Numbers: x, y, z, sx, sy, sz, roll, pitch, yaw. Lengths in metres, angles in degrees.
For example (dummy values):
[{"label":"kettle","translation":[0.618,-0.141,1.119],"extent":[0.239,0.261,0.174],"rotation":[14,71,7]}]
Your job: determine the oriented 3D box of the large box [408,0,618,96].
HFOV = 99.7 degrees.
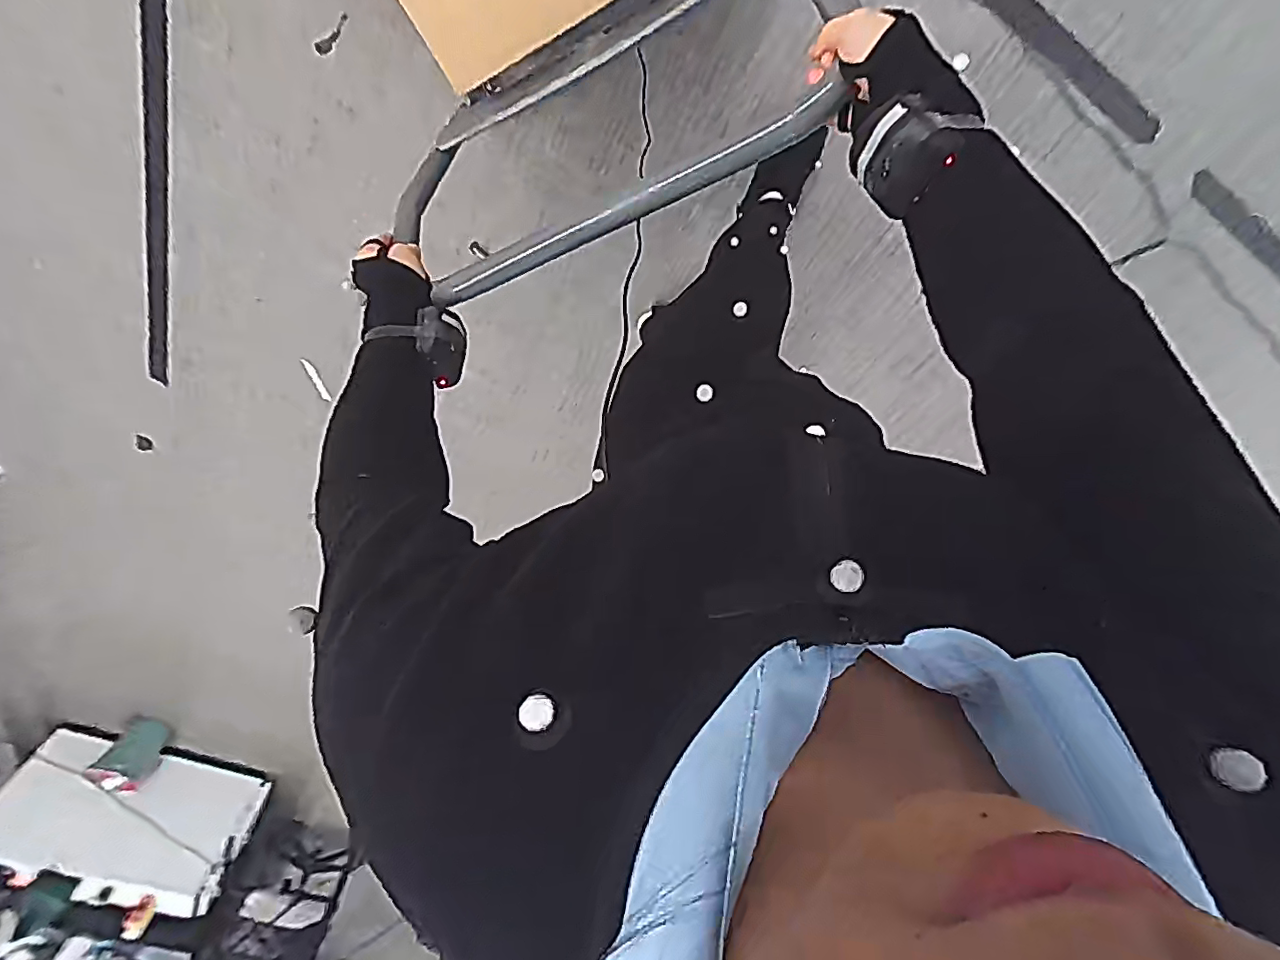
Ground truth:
[{"label":"large box","translation":[-0.130,-0.788,0.688],"extent":[0.408,0.320,0.320],"rotation":[-18,134,19]}]
